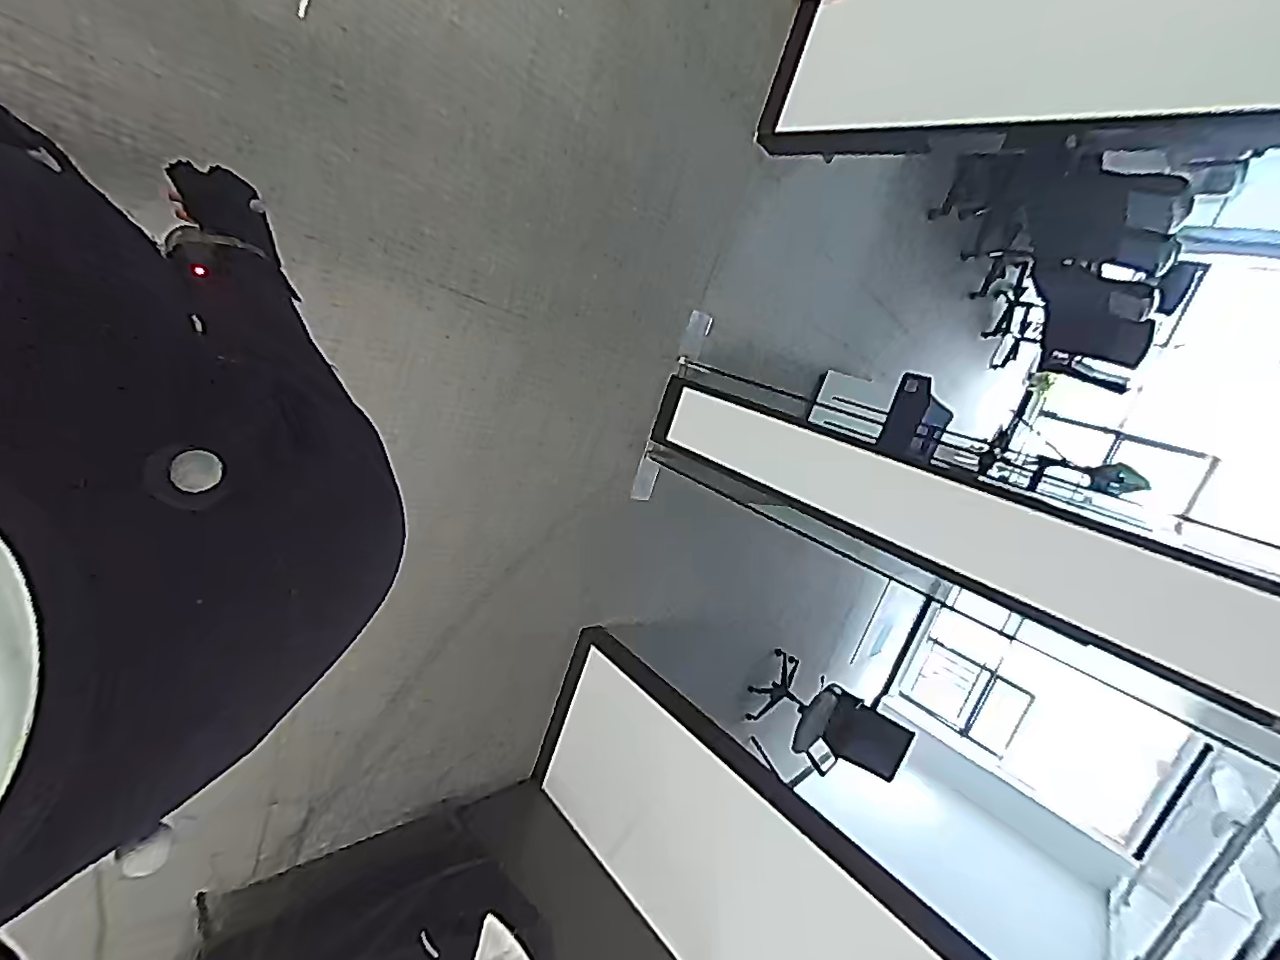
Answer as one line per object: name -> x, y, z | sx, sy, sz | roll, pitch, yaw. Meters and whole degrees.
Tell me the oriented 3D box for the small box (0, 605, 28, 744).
small box -> -1.158, 0.333, 0.902 | 0.168, 0.176, 0.179 | 7, 107, -49
